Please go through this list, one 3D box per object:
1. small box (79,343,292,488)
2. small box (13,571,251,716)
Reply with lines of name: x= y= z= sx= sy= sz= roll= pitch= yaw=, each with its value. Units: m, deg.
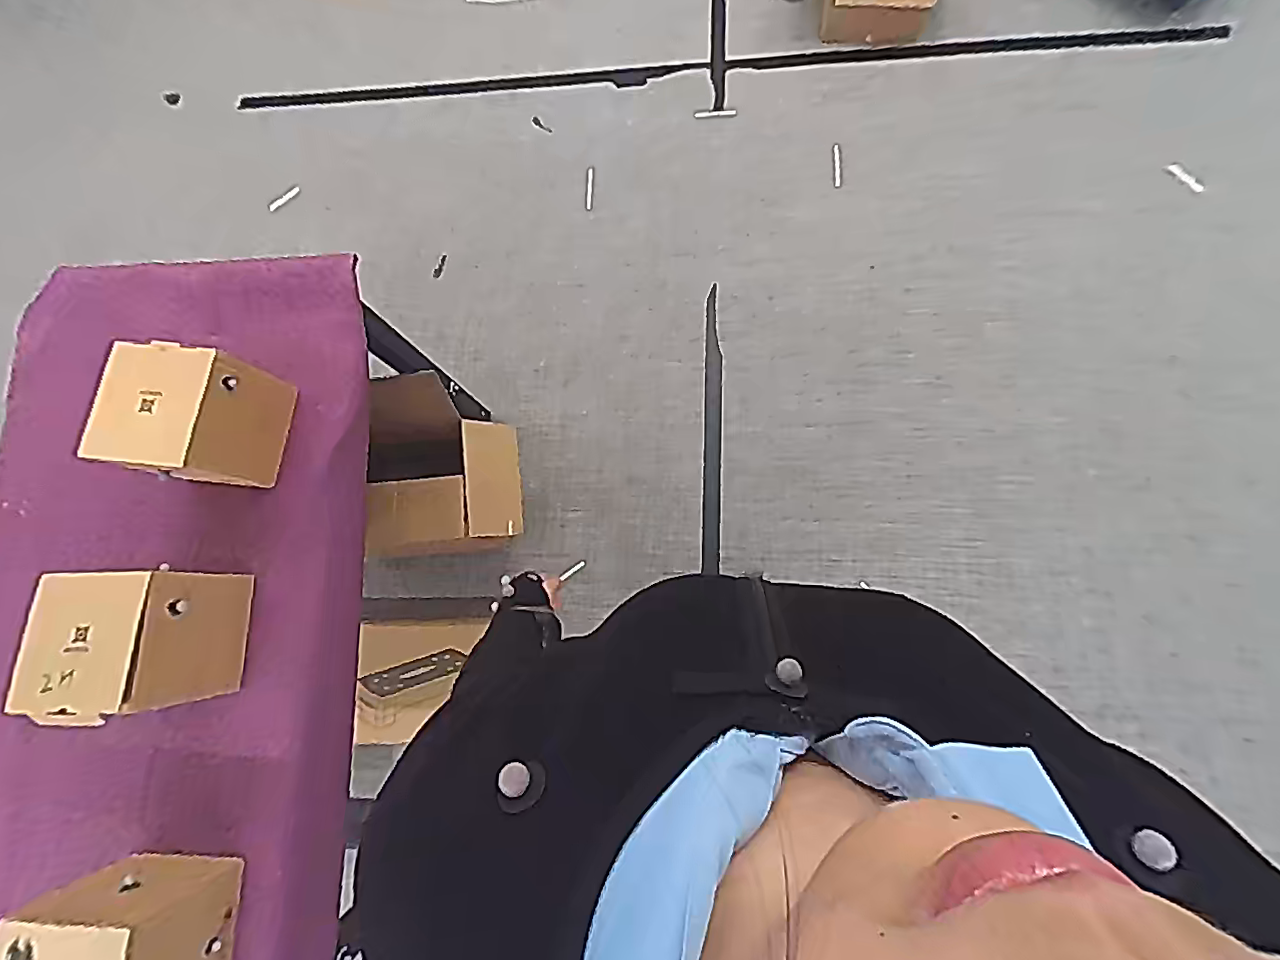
small box: x=-0.674 y=-0.089 z=0.826 sx=0.168 sy=0.176 sz=0.179 roll=5 pitch=79 yaw=6
small box: x=-0.694 y=0.223 z=0.762 sx=0.168 sy=0.176 sz=0.179 roll=-2 pitch=78 yaw=7
